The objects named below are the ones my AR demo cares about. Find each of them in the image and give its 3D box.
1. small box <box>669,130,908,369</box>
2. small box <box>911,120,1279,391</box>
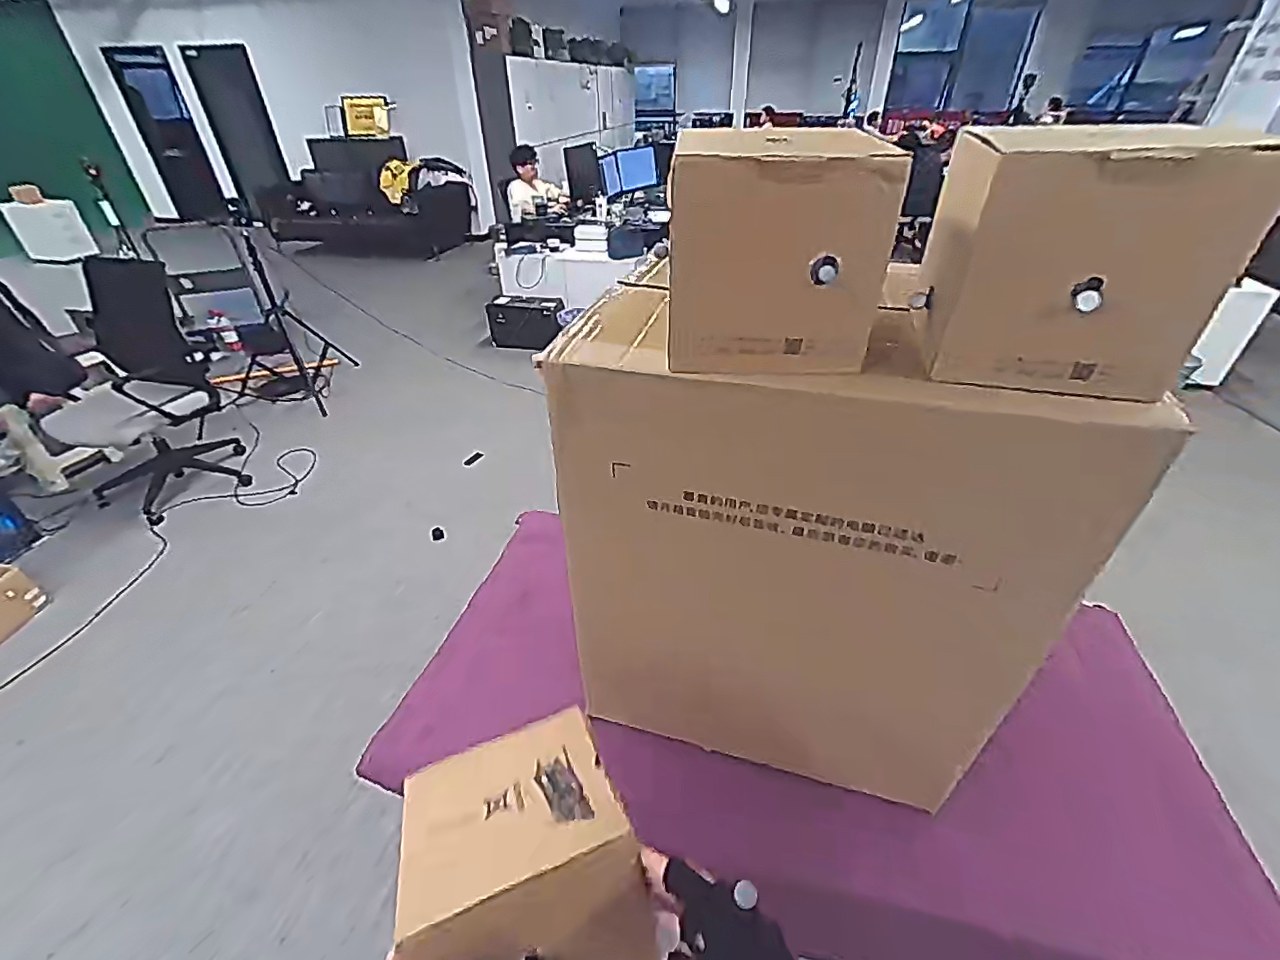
[{"bbox_3d":[0.113,-0.211,0.492,0.168,0.176,0.179,2,36,3],"label":"small box"},{"bbox_3d":[0.340,-0.189,0.450,0.168,0.176,0.179,9,39,14],"label":"small box"}]
